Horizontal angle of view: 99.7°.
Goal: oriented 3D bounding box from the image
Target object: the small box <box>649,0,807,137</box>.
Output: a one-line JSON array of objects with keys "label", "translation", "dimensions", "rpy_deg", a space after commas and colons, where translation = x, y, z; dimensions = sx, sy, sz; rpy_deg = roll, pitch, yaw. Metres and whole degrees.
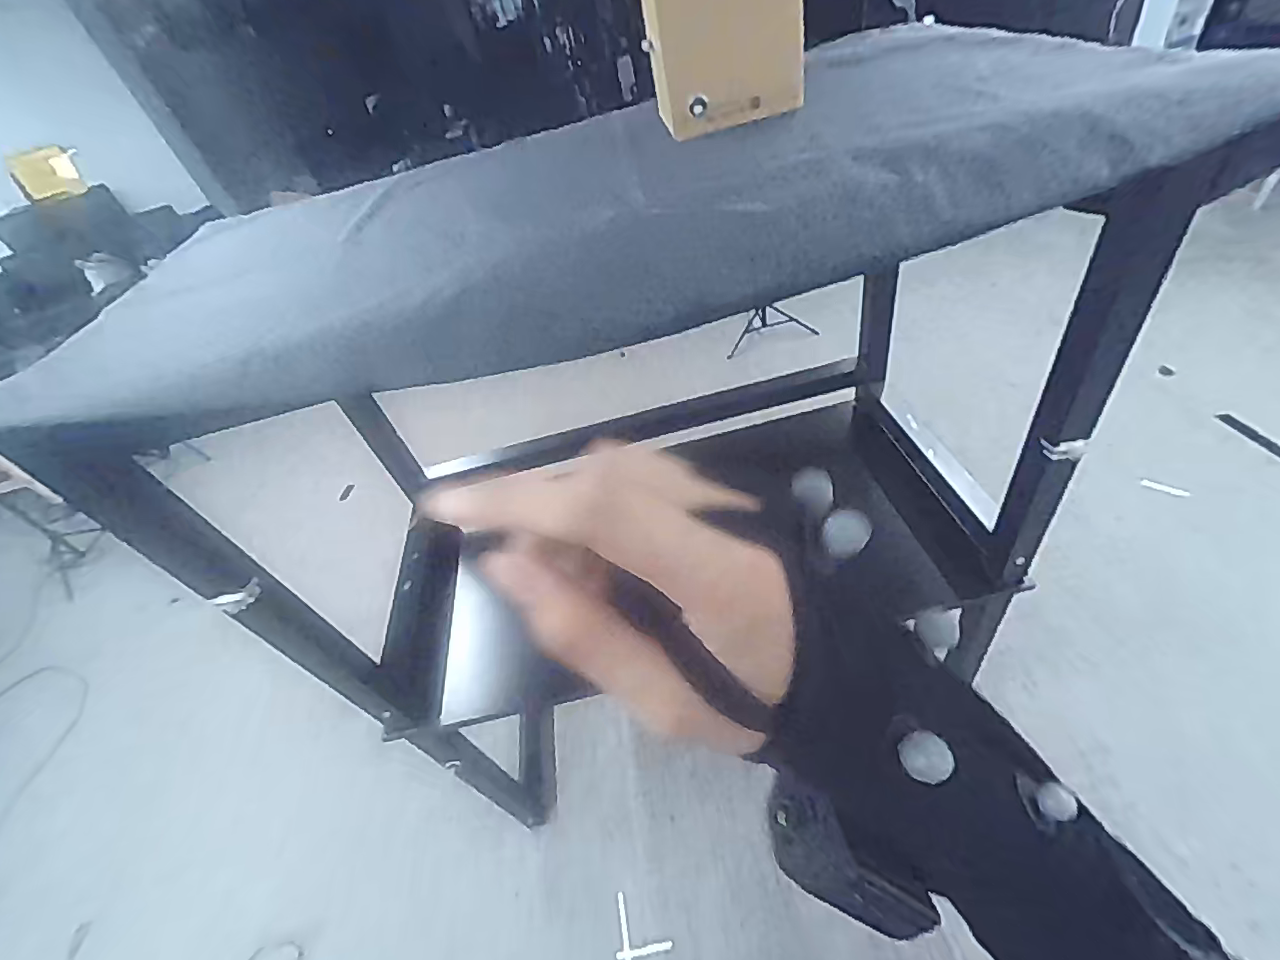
[{"label": "small box", "translation": [0.109, -0.560, 0.688], "dimensions": [0.168, 0.176, 0.179], "rpy_deg": [-12, 43, 5]}]
